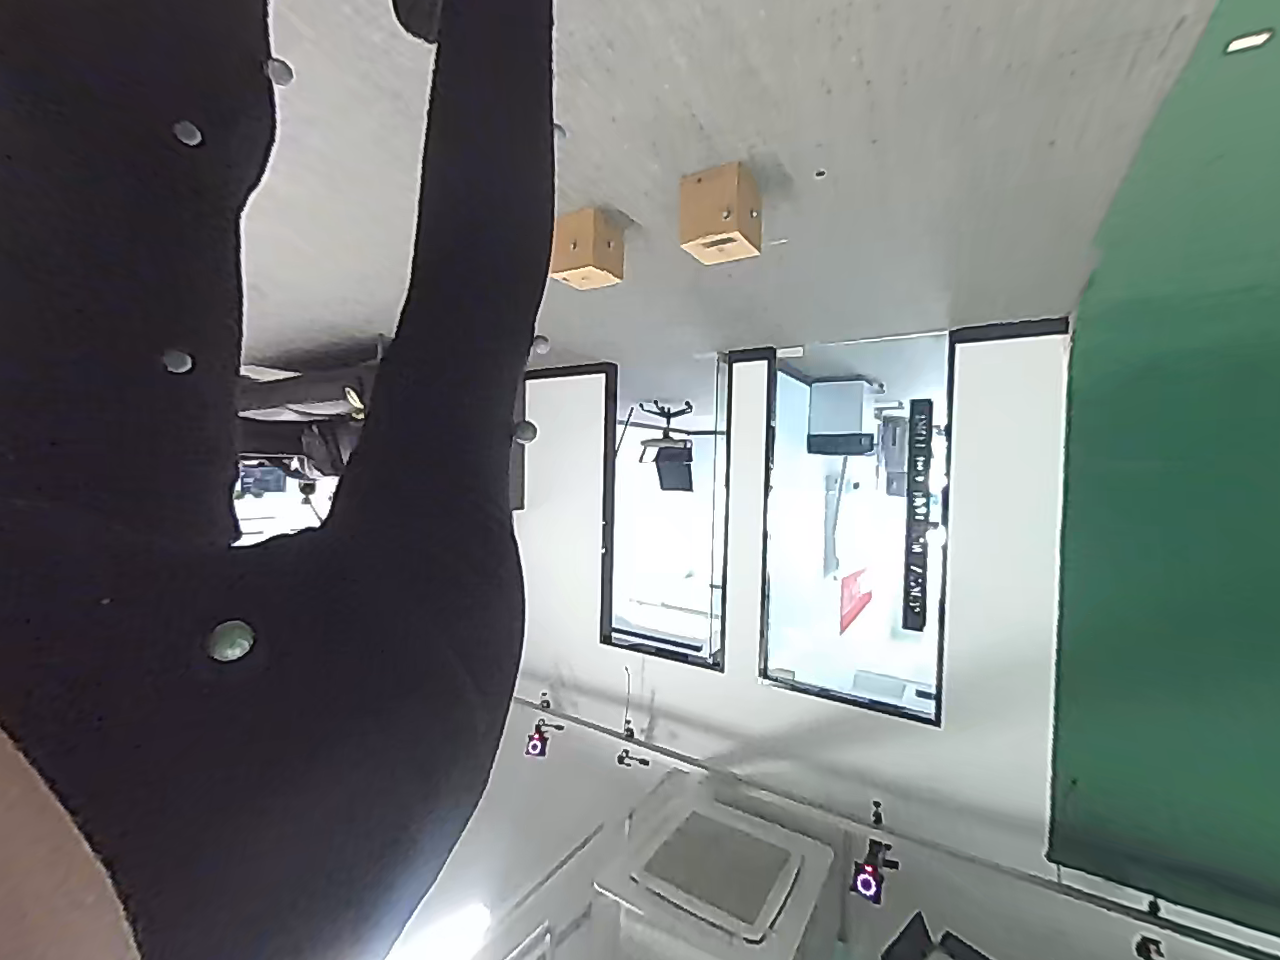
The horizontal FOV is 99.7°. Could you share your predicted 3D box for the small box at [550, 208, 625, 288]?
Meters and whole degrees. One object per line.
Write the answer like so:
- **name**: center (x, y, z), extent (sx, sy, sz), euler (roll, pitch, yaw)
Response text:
- **small box**: center (-0.160, -0.707, 1.652), extent (0.179, 0.176, 0.168), euler (2, -178, 32)
